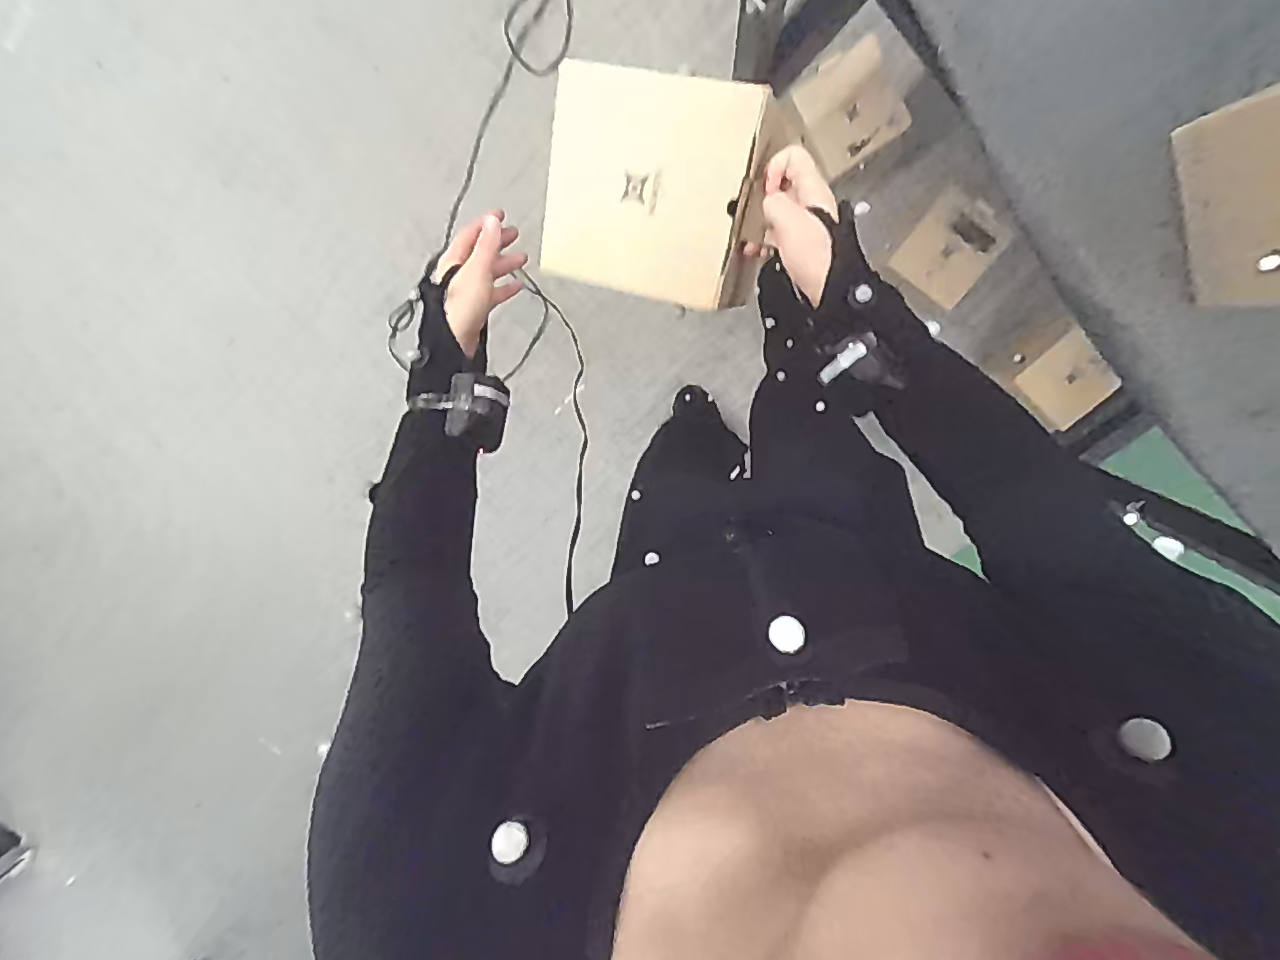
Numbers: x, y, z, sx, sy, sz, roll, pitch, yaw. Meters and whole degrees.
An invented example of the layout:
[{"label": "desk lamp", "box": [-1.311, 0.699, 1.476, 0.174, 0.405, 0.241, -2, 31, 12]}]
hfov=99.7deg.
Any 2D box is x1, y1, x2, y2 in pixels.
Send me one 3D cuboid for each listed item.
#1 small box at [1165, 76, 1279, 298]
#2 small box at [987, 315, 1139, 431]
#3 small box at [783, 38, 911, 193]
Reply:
[{"label": "small box", "box": [0.594, -0.261, 0.440, 0.168, 0.176, 0.179, -23, 103, 11]}, {"label": "small box", "box": [0.901, -0.239, 1.179, 0.168, 0.176, 0.179, 40, 109, -7]}, {"label": "small box", "box": [0.403, -0.715, 1.086, 0.168, 0.176, 0.179, -29, 102, 16]}]
